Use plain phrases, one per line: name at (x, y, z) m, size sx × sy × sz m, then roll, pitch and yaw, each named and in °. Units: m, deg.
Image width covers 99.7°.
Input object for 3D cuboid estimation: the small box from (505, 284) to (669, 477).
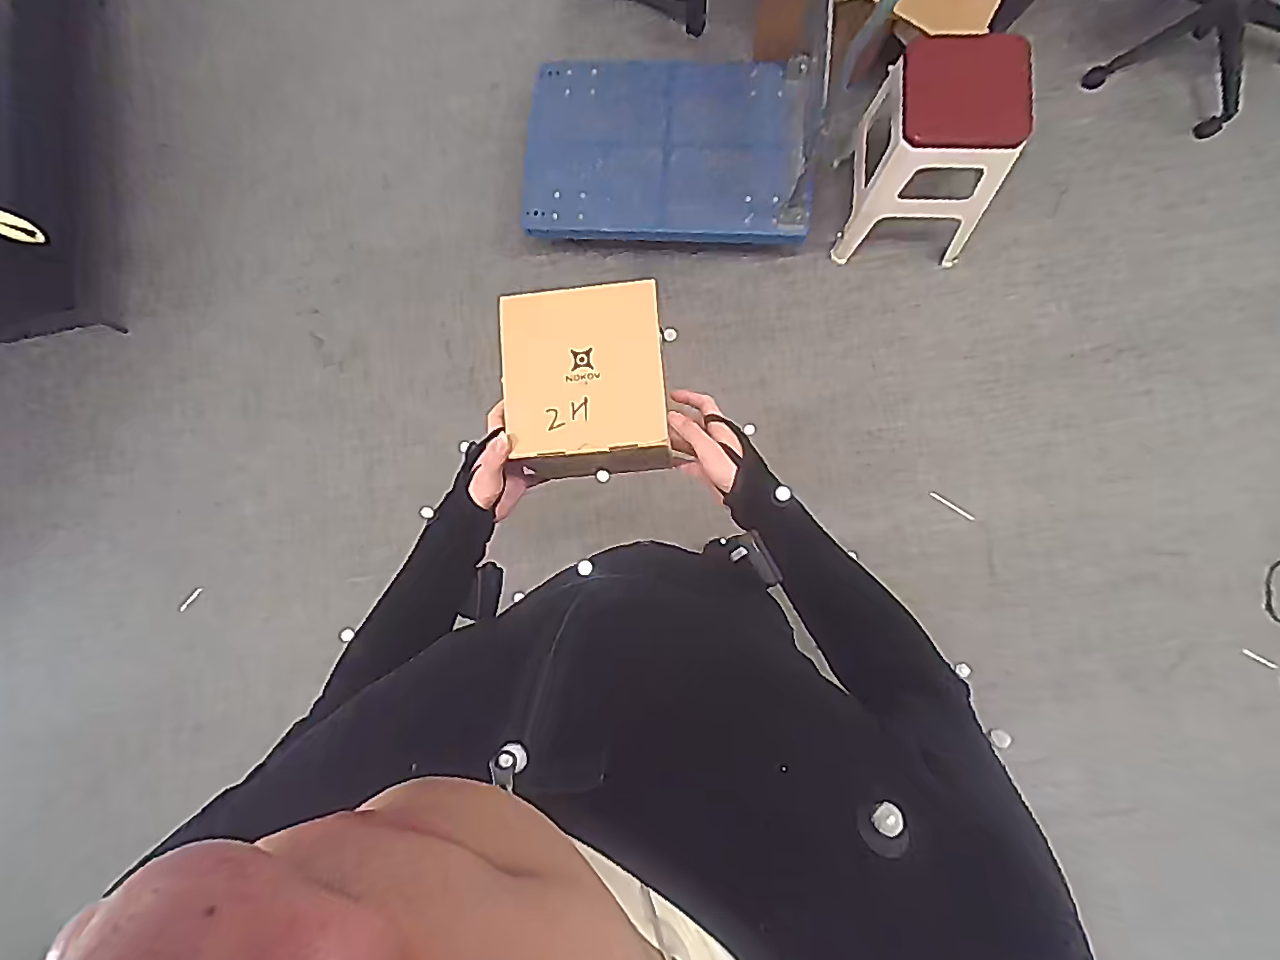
small box at (-0.053, -0.105, 0.639) m, size 0.168 × 0.176 × 0.179 m, roll -4°, pitch 83°, yaw 4°
